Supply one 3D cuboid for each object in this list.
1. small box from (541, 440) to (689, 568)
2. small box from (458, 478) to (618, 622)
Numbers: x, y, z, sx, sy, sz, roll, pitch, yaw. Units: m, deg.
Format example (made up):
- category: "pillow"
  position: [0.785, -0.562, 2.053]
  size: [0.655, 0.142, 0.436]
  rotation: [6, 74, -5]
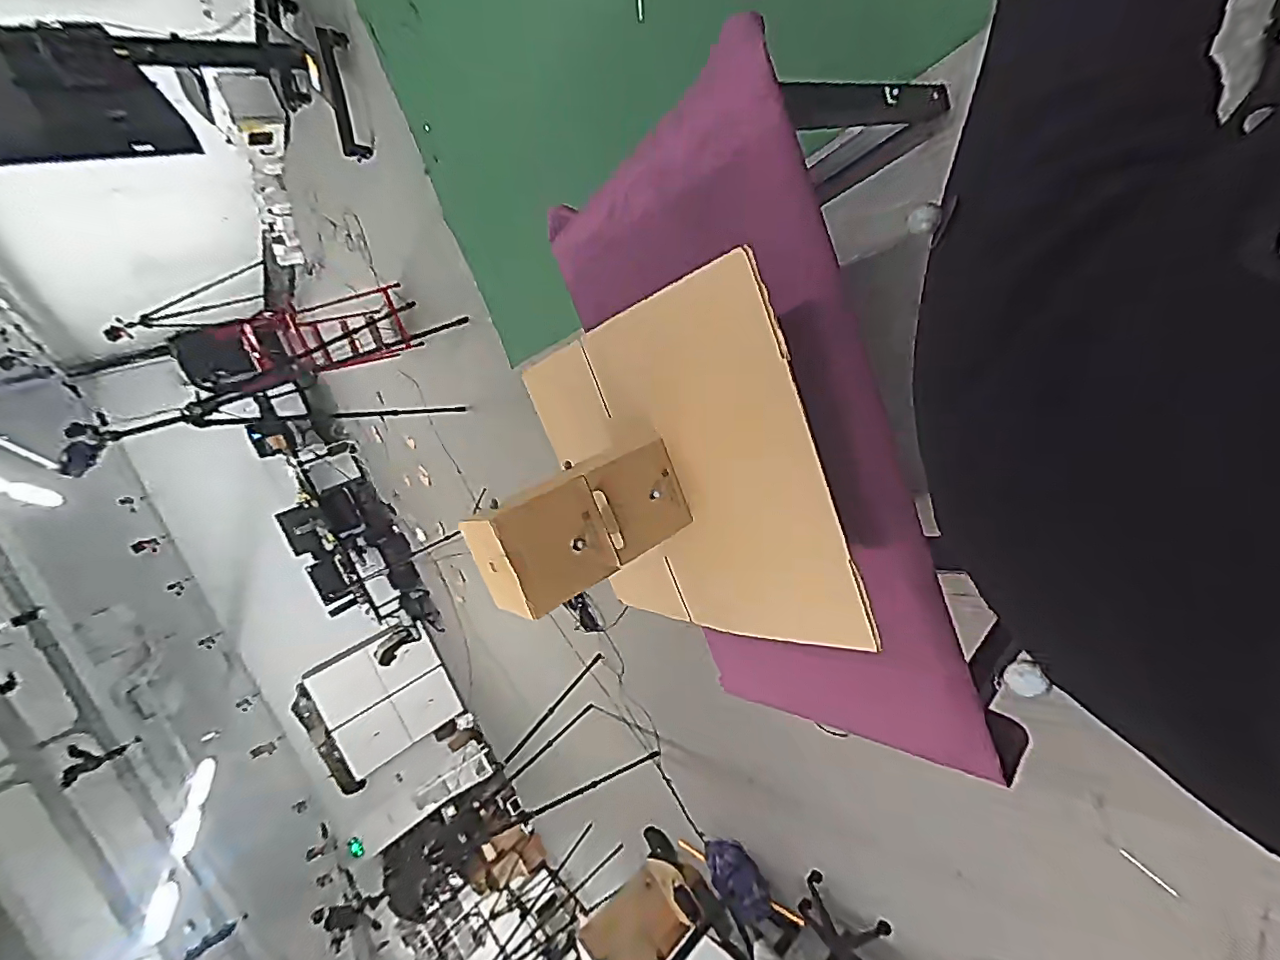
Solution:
- category: "small box"
  position: [-0.044, 0.040, 0.968]
  size: [0.179, 0.176, 0.168]
  rotation: [-6, 109, 55]
- category: "small box"
  position: [-0.165, 0.106, 0.881]
  size: [0.179, 0.176, 0.168]
  rotation: [-9, 106, 56]
